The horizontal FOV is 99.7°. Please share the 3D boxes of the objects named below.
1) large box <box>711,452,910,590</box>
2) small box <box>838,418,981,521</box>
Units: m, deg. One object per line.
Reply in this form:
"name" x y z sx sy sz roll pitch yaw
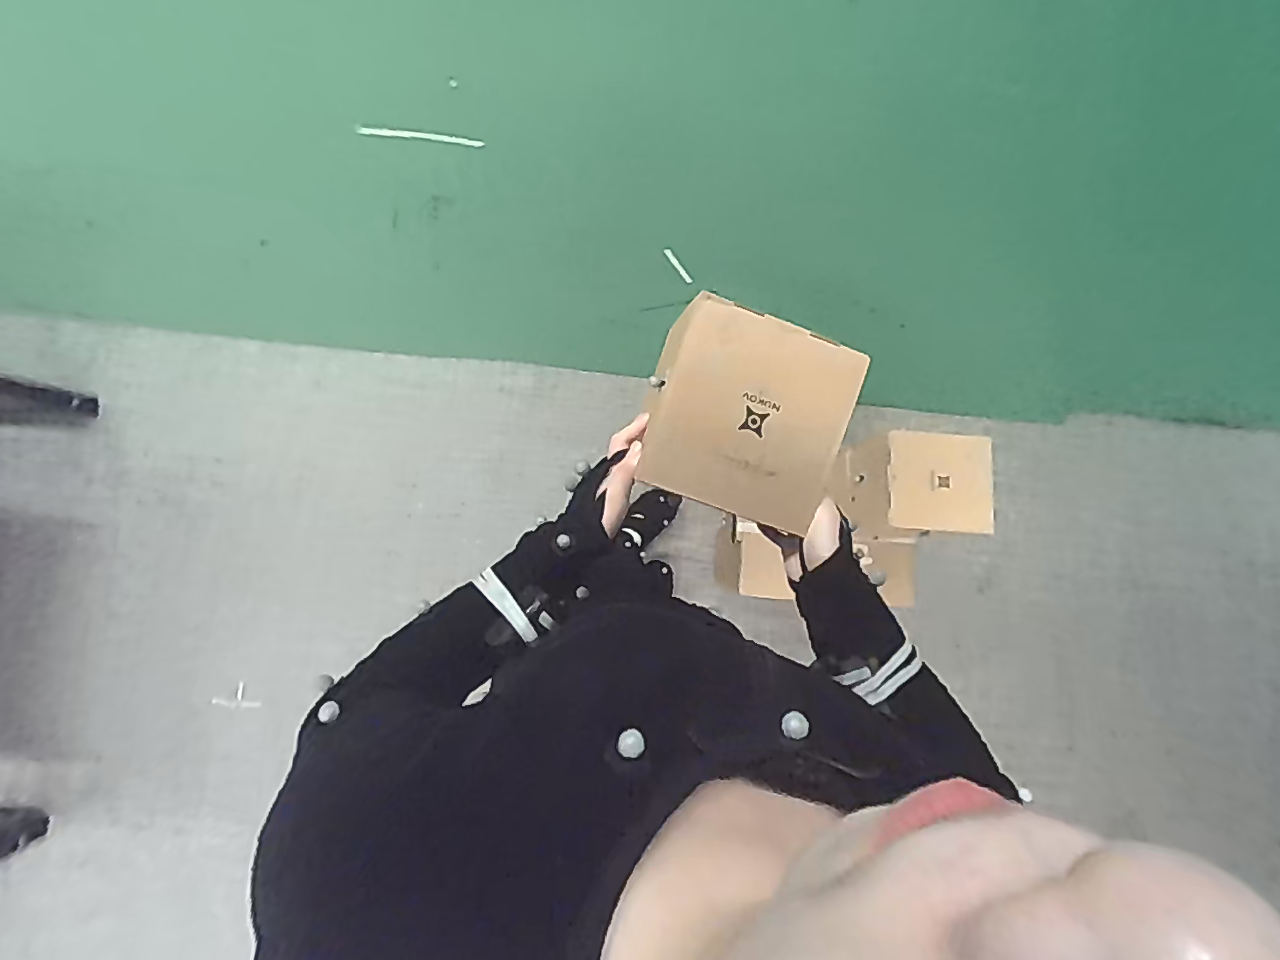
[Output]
"large box" 0.407 0.107 1.377 0.408 0.320 0.320 1 85 -3
"small box" 0.478 -0.013 0.981 0.179 0.176 0.168 0 82 -1
